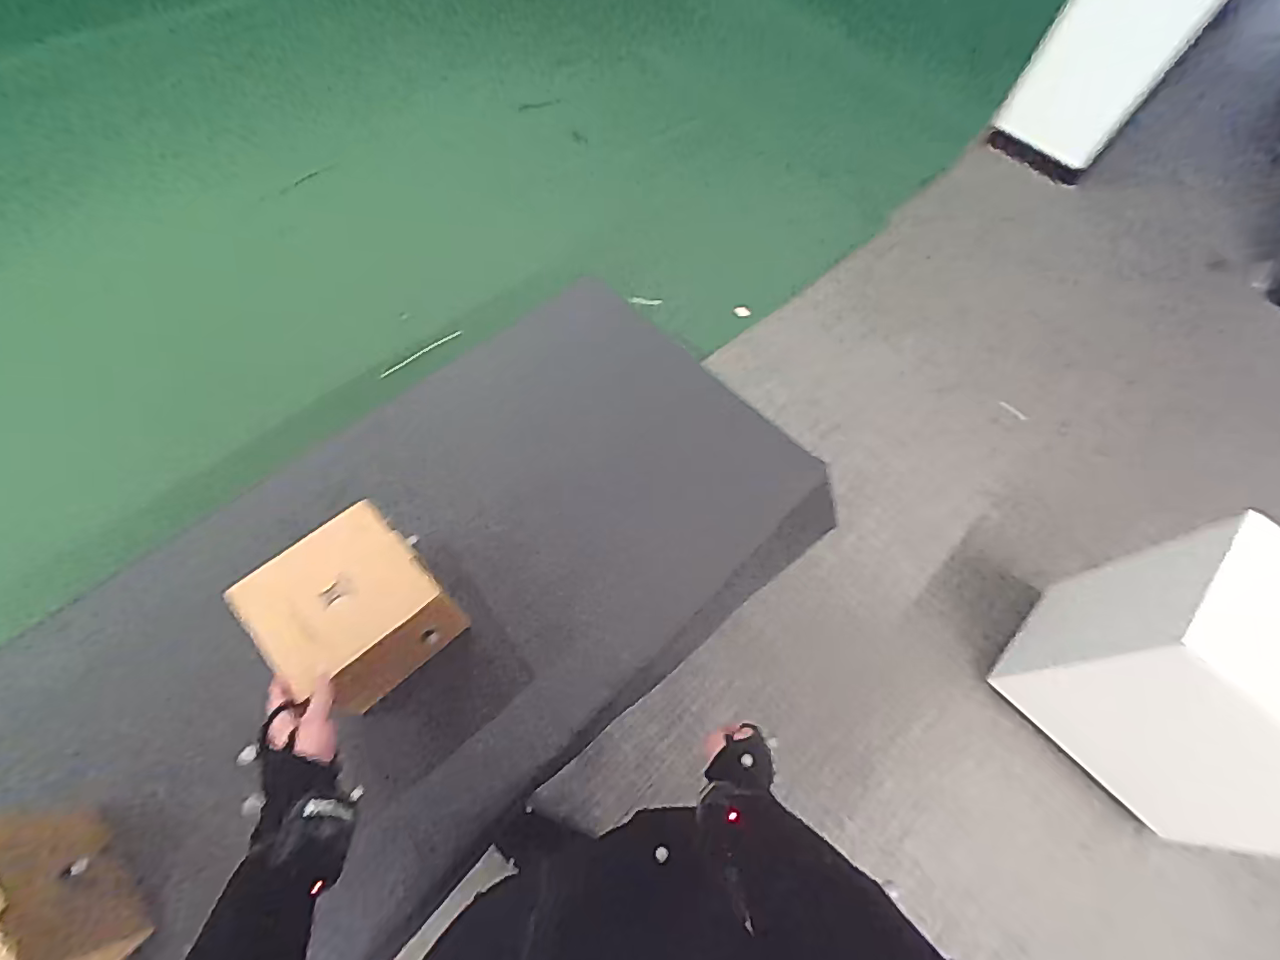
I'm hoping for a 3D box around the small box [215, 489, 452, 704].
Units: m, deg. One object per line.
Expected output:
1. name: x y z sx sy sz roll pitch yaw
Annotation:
1. small box: -0.353 0.149 0.667 0.179 0.176 0.168 -40 73 -22
